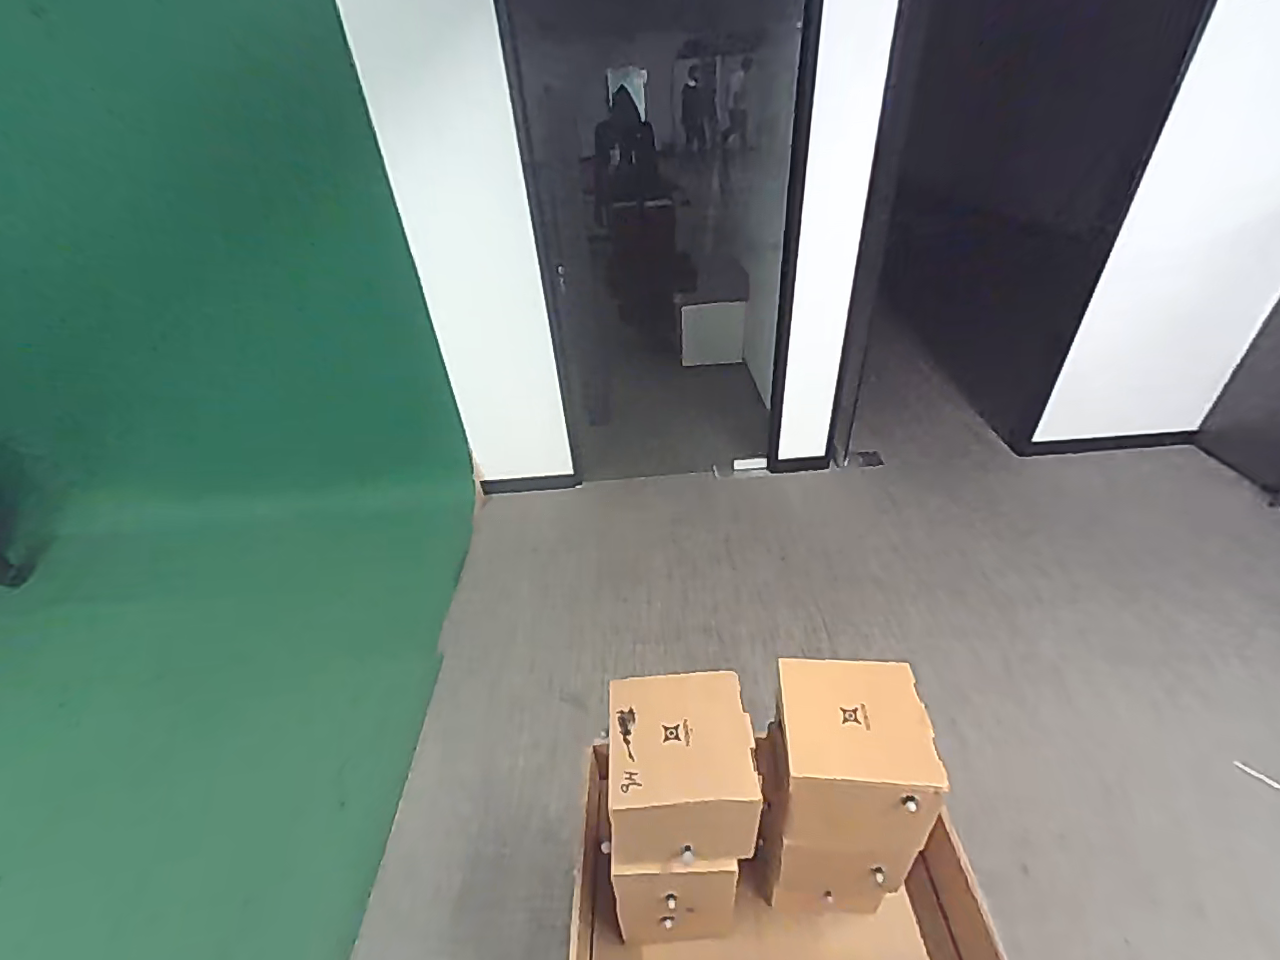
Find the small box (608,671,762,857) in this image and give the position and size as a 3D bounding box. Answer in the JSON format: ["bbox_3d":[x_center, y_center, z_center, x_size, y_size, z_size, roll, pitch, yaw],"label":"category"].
[{"bbox_3d":[0.052,0.374,0.716,0.179,0.176,0.168,-3,37,1],"label":"small box"}]
